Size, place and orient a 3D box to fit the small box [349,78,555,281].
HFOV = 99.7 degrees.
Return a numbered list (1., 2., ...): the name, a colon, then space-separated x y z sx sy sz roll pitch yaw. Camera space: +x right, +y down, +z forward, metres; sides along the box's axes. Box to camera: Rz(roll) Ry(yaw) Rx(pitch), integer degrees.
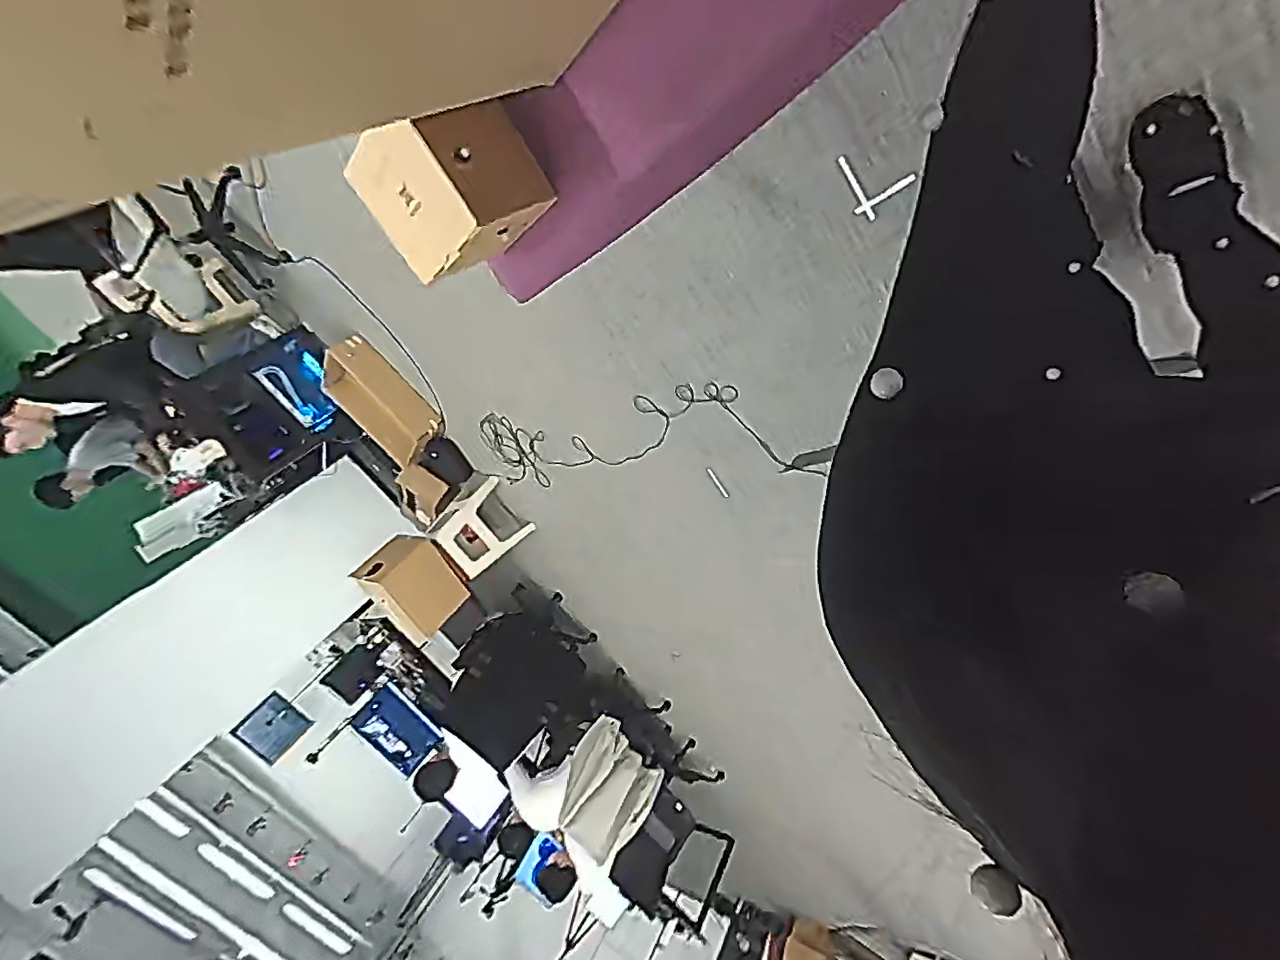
1. small box: -0.251 -0.413 0.746 0.168 0.176 0.179 -17 112 44
